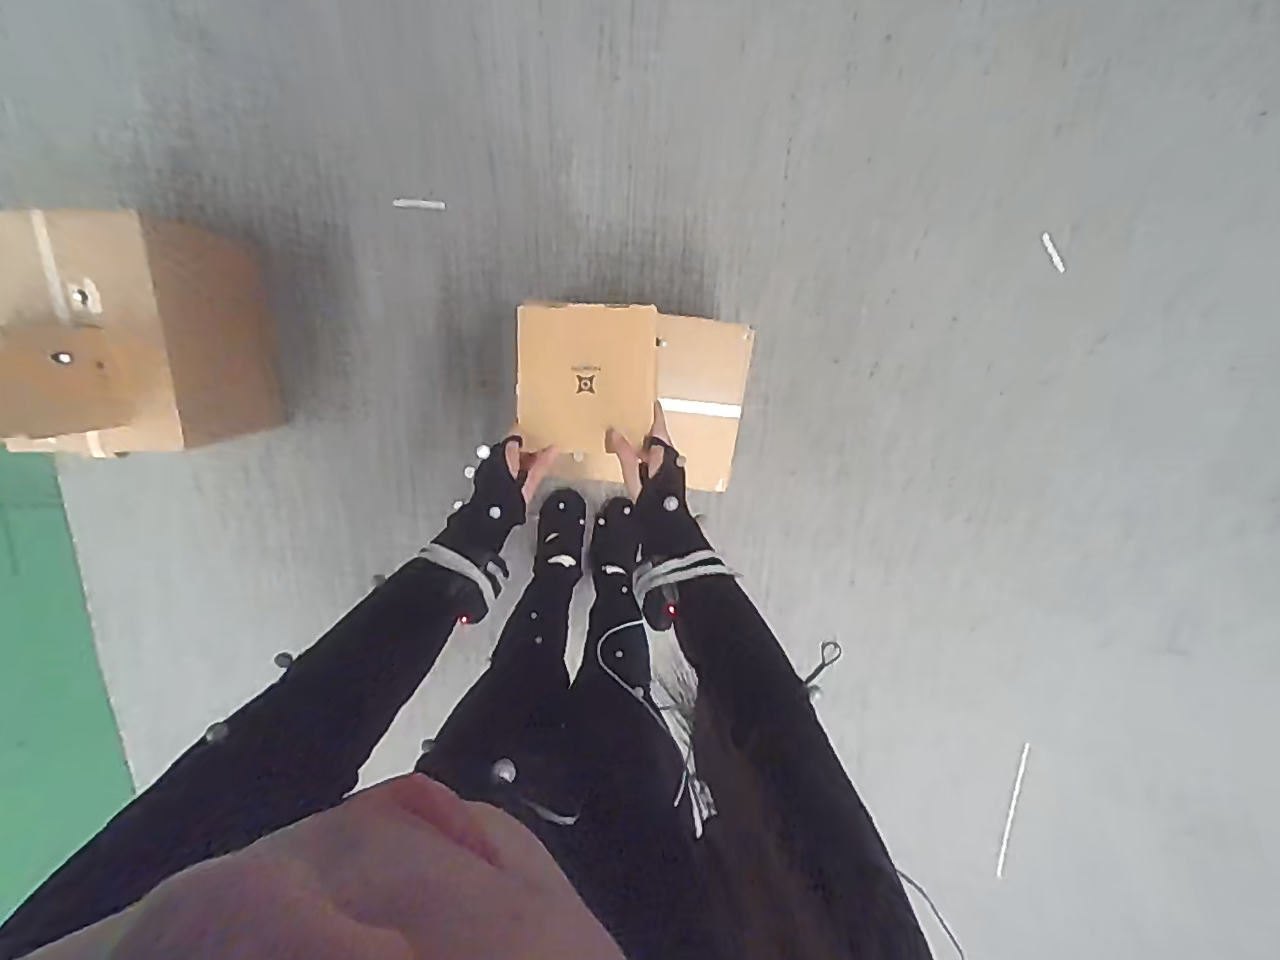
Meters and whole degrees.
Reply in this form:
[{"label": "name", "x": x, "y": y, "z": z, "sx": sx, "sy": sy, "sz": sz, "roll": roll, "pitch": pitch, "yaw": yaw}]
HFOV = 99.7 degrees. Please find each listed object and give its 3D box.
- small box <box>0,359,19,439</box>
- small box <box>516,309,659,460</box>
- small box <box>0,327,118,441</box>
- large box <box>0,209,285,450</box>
[{"label": "small box", "x": -0.976, "y": -0.124, "z": 0.689, "sx": 0.168, "sy": 0.176, "sz": 0.179, "roll": -5, "pitch": 103, "yaw": -1}, {"label": "small box", "x": -0.060, "y": -0.120, "z": 0.716, "sx": 0.168, "sy": 0.176, "sz": 0.179, "roll": 1, "pitch": 94, "yaw": 3}, {"label": "small box", "x": -0.982, "y": -0.155, "z": 0.849, "sx": 0.179, "sy": 0.176, "sz": 0.168, "roll": -1, "pitch": 103, "yaw": -1}, {"label": "large box", "x": -0.971, "y": -0.280, "z": 1.070, "sx": 0.320, "sy": 0.320, "sz": 0.408, "roll": 0, "pitch": 103, "yaw": -2}]
